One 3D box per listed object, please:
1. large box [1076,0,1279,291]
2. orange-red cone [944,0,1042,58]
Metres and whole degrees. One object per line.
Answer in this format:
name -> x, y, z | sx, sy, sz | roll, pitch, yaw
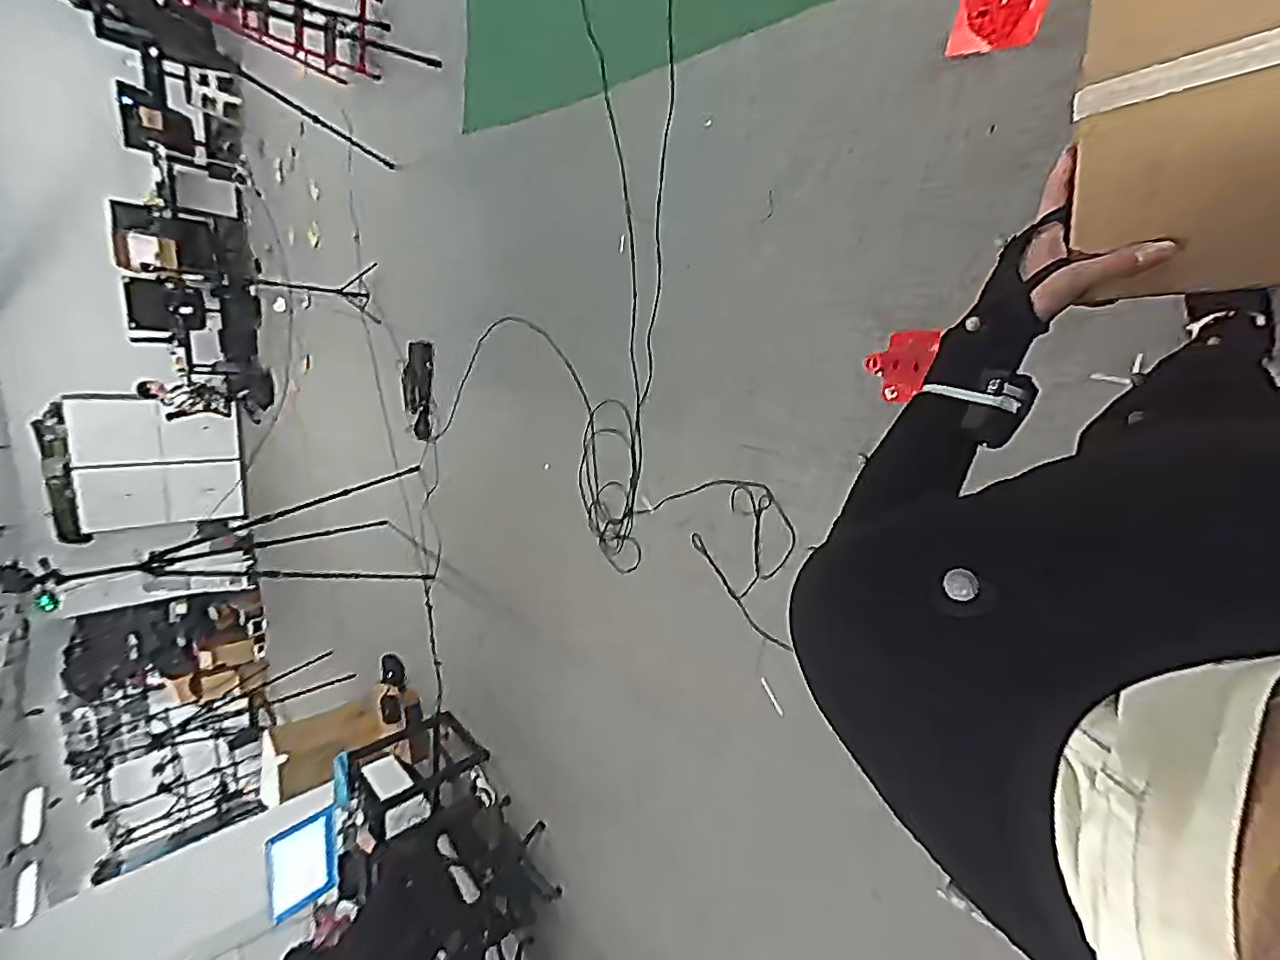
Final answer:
large box -> 0.610, -0.334, 0.392 | 0.408, 0.320, 0.320 | 11, 116, 47
orange-red cone -> 0.741, -1.125, 1.180 | 0.199, 0.360, 0.198 | 28, 114, 41
